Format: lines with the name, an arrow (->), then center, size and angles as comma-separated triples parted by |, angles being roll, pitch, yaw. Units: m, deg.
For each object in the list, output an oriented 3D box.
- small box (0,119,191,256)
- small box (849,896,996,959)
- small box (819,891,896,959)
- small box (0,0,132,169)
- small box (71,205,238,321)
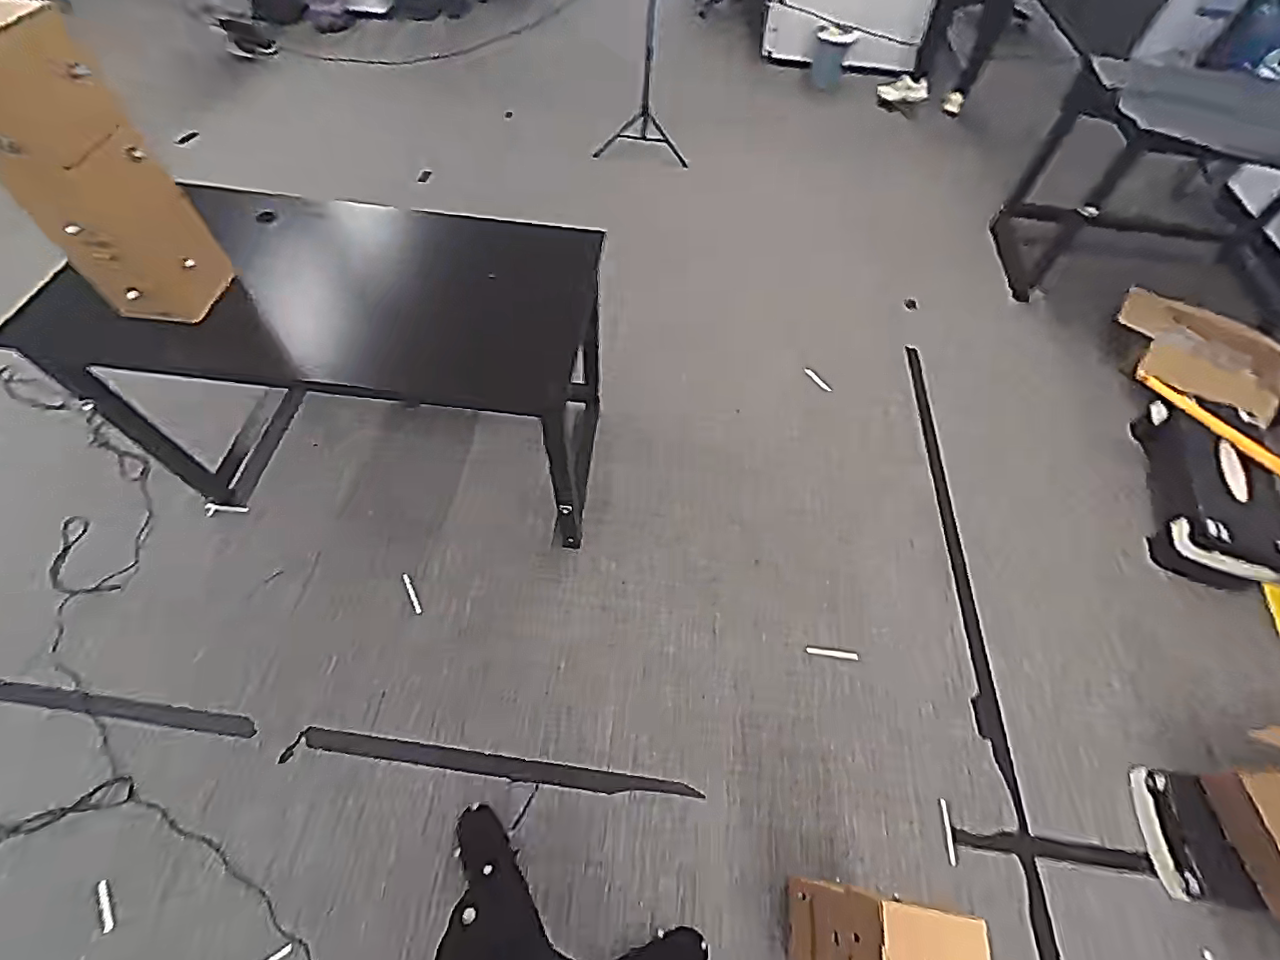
small box -> -0.999, -0.550, 1.008 | 0.168, 0.176, 0.179 | 6, 58, 1
small box -> 0.471, 0.826, 0.910 | 0.179, 0.176, 0.168 | 9, 59, 3
small box -> 0.454, 0.918, 1.044 | 0.168, 0.176, 0.179 | 8, 59, 1
small box -> -0.989, -0.635, 0.869 | 0.168, 0.176, 0.179 | 5, 58, 1
small box -> -1.008, -0.462, 1.147 | 0.168, 0.176, 0.179 | 6, 59, 0
